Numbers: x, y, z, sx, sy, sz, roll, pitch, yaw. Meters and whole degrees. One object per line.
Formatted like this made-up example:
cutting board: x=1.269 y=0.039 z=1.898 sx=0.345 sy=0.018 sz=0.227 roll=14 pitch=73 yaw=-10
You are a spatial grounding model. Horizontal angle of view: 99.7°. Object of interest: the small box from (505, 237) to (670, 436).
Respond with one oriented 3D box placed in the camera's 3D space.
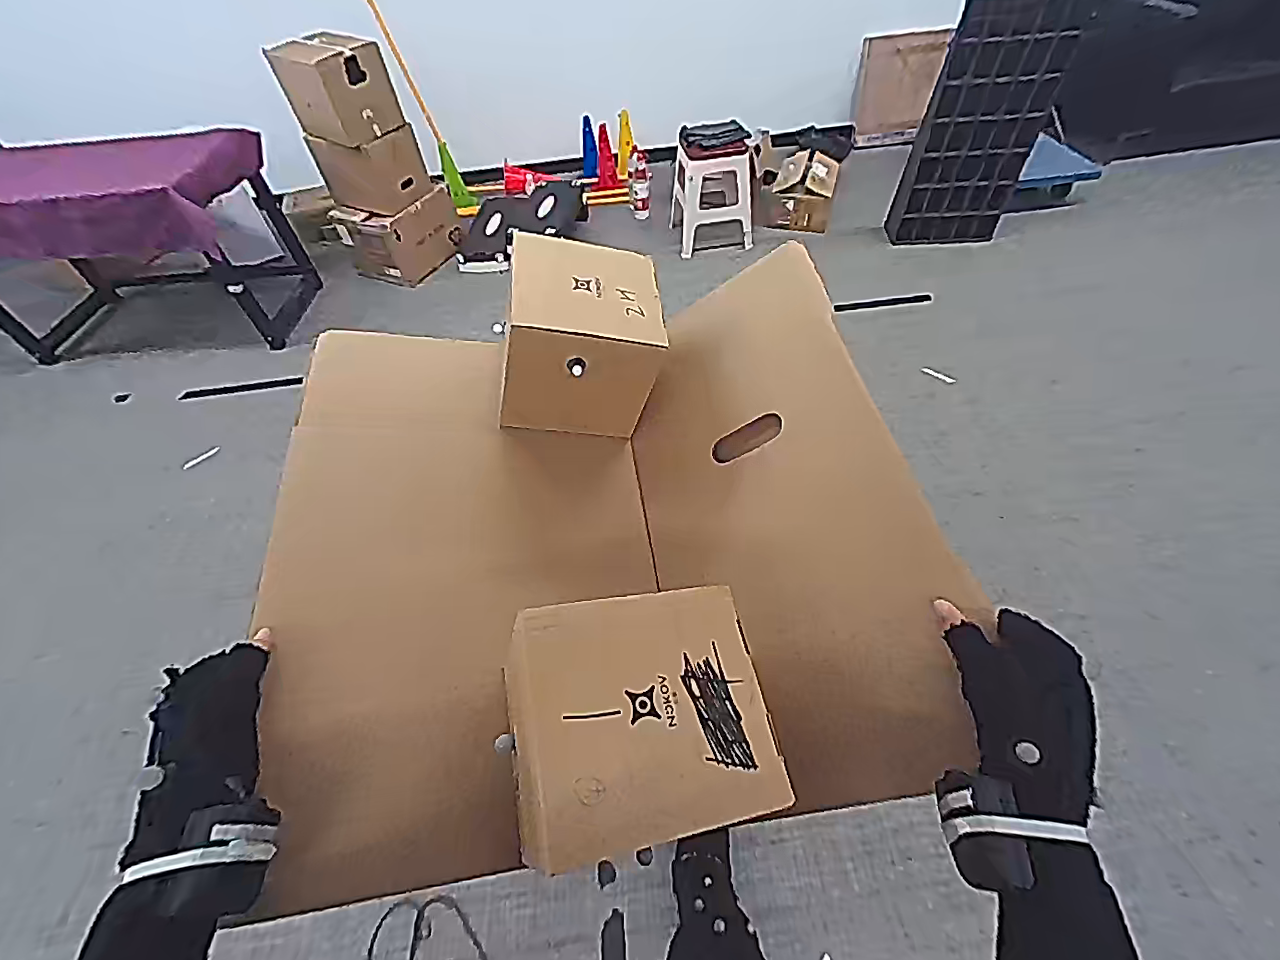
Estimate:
small box: x=-0.076 y=-0.173 z=0.690 sx=0.179 sy=0.176 sz=0.168 roll=5 pitch=56 yaw=-16
